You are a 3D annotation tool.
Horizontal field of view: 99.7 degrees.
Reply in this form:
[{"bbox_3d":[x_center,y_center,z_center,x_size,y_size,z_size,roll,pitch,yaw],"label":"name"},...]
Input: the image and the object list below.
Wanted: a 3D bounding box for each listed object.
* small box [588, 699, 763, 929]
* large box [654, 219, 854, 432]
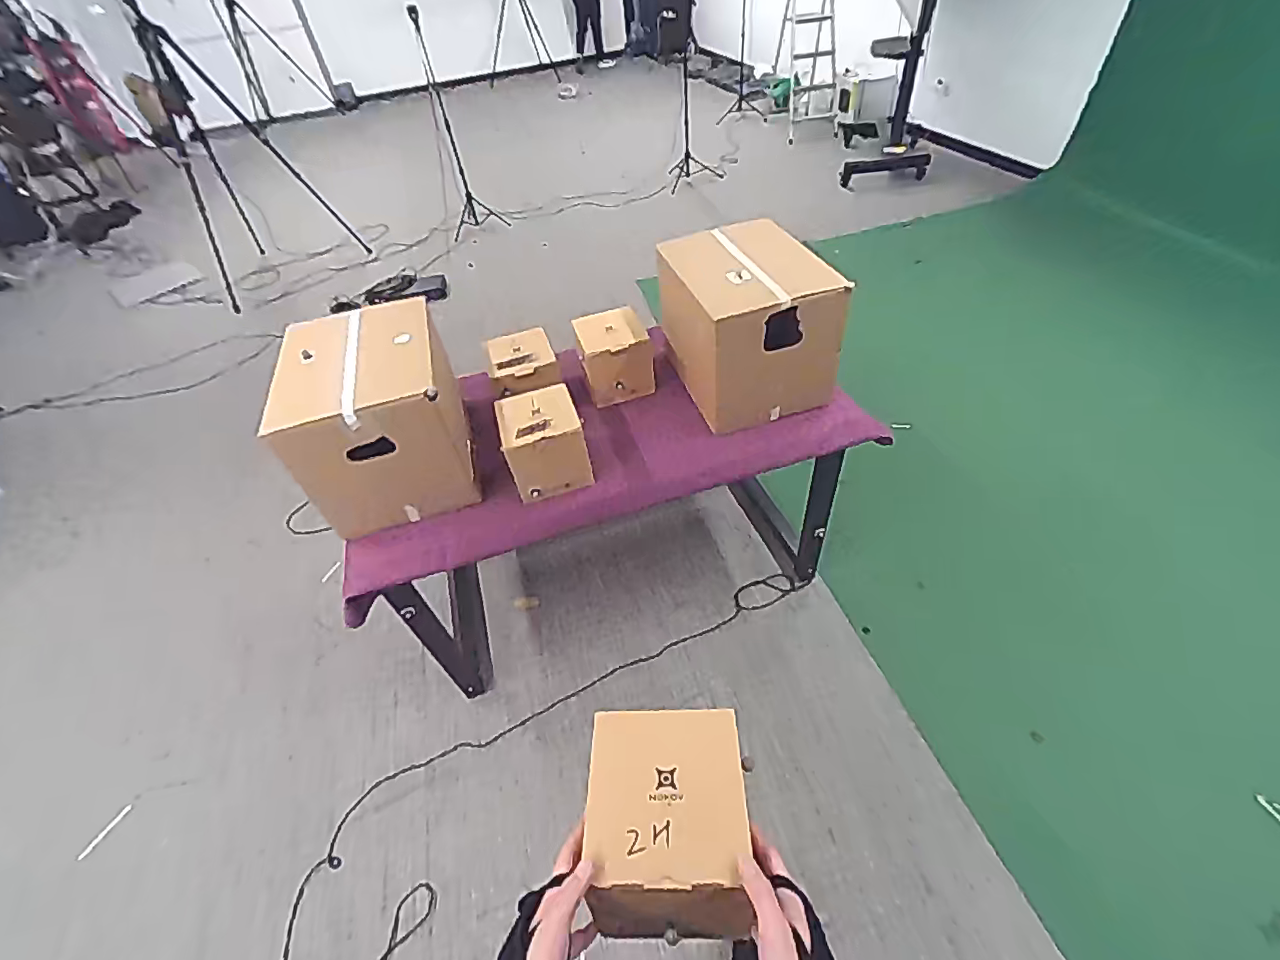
[{"bbox_3d":[0.040,0.374,0.614,0.168,0.176,0.179,-3,37,4],"label":"small box"},{"bbox_3d":[0.249,-0.386,1.329,0.320,0.320,0.408,-17,48,-7],"label":"large box"}]
